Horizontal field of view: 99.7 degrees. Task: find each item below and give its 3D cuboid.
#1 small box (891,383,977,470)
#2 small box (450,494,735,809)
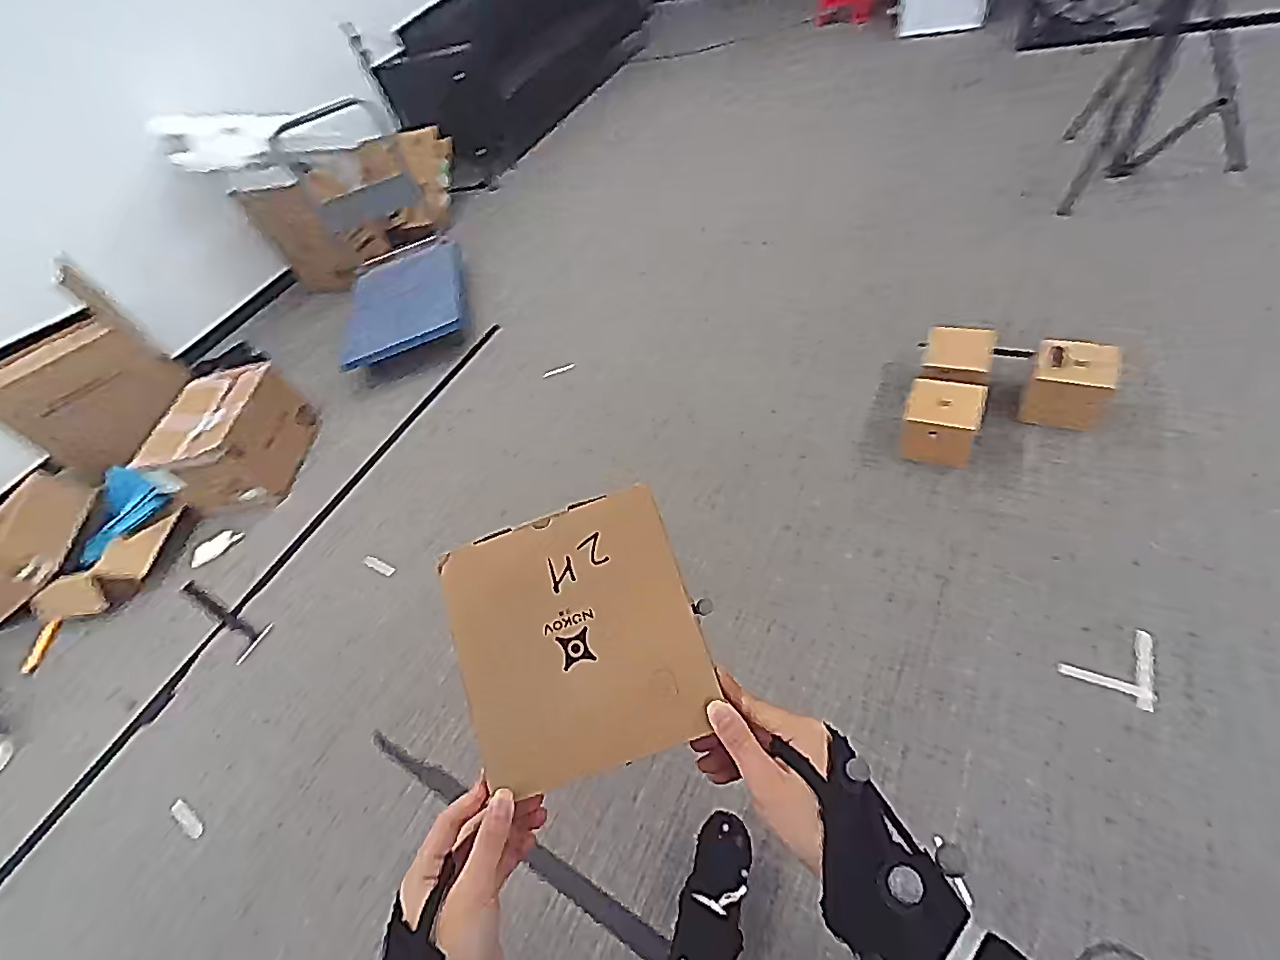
[{"bbox_3d":[0.830,-0.150,1.538,0.179,0.176,0.168,14,58,27],"label":"small box"},{"bbox_3d":[-0.029,0.132,0.450,0.168,0.176,0.179,-19,74,1],"label":"small box"}]
